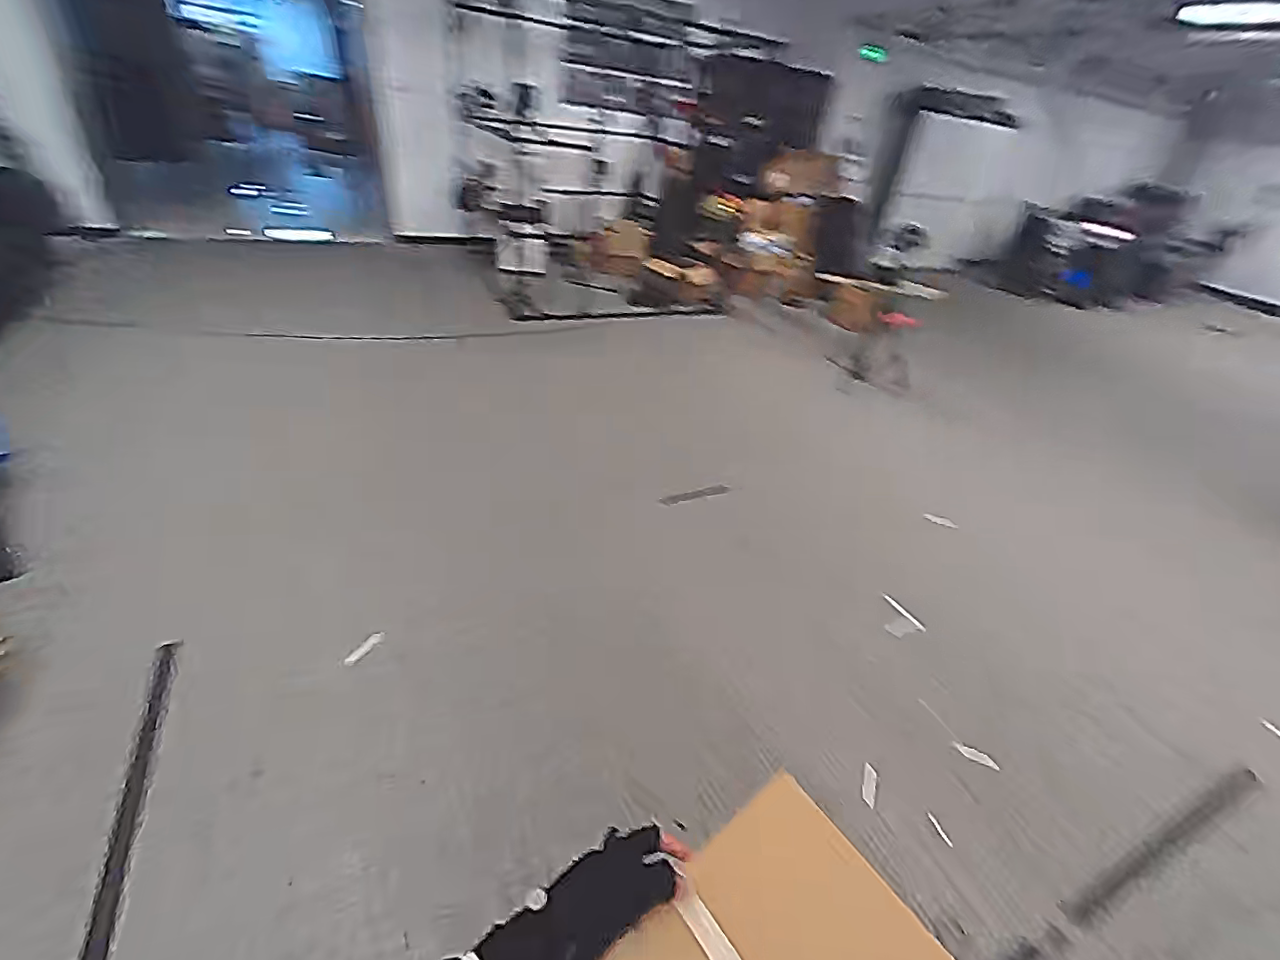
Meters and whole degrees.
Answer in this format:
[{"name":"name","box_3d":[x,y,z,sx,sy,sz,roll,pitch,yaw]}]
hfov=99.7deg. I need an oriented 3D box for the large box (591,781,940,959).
[{"name":"large box","box_3d":[0.136,0.592,0.494,0.320,0.320,0.408,-26,51,-29]}]
